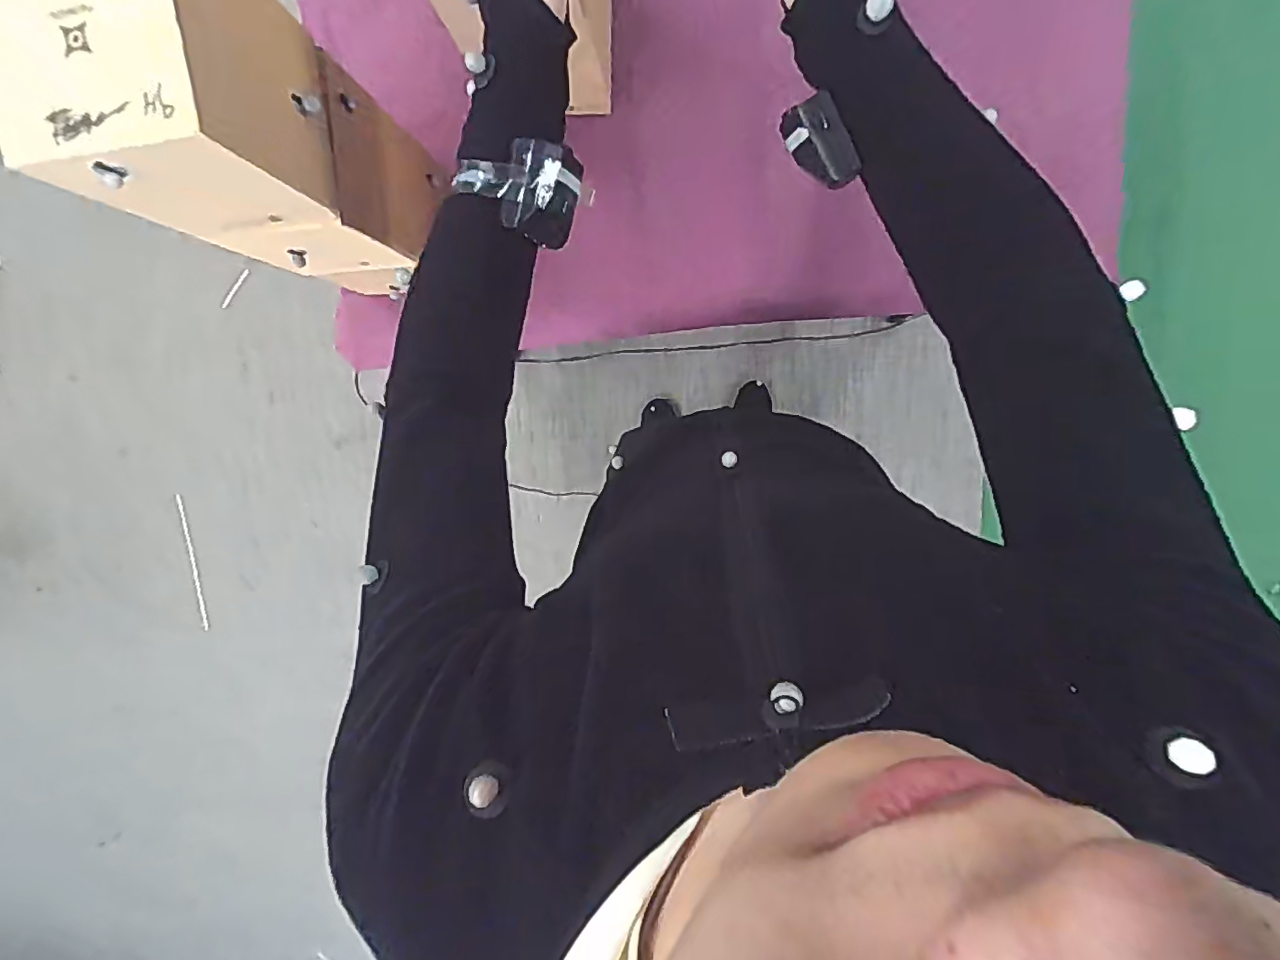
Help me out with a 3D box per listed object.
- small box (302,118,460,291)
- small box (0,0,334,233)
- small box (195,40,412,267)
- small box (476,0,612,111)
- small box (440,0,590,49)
[{"bbox_3d":[-0.381,-0.390,0.794,0.168,0.176,0.179,-3,98,5],"label":"small box"},{"bbox_3d":[-0.403,-0.342,0.471,0.168,0.176,0.179,-5,96,7],"label":"small box"},{"bbox_3d":[-0.388,-0.360,0.635,0.168,0.176,0.179,-2,97,5],"label":"small box"},{"bbox_3d":[-0.130,-0.641,0.737,0.168,0.176,0.179,2,100,4],"label":"small box"},{"bbox_3d":[-0.148,-0.610,0.576,0.168,0.176,0.179,0,100,4],"label":"small box"}]
